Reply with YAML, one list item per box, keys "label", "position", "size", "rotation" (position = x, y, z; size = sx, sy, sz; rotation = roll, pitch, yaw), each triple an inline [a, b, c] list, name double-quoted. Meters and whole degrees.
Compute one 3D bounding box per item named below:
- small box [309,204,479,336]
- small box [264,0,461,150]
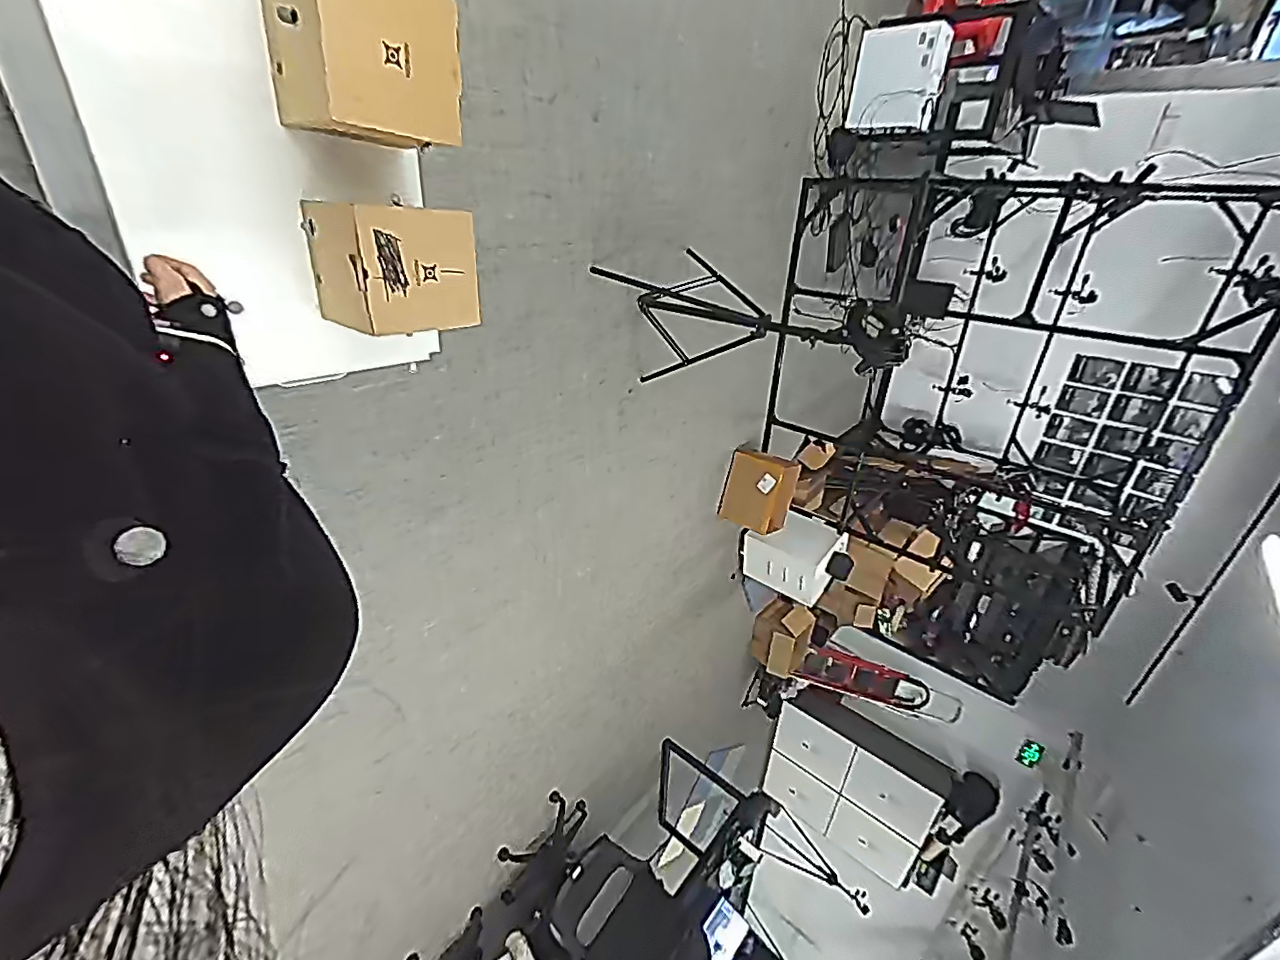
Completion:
- label: "small box"
  position: [-0.370, -0.319, 0.815]
  size: [0.179, 0.176, 0.168]
  rotation: [-25, 128, -45]
- label: "small box"
  position: [-0.359, -0.538, 0.704]
  size: [0.179, 0.176, 0.168]
  rotation: [-22, 127, -46]
